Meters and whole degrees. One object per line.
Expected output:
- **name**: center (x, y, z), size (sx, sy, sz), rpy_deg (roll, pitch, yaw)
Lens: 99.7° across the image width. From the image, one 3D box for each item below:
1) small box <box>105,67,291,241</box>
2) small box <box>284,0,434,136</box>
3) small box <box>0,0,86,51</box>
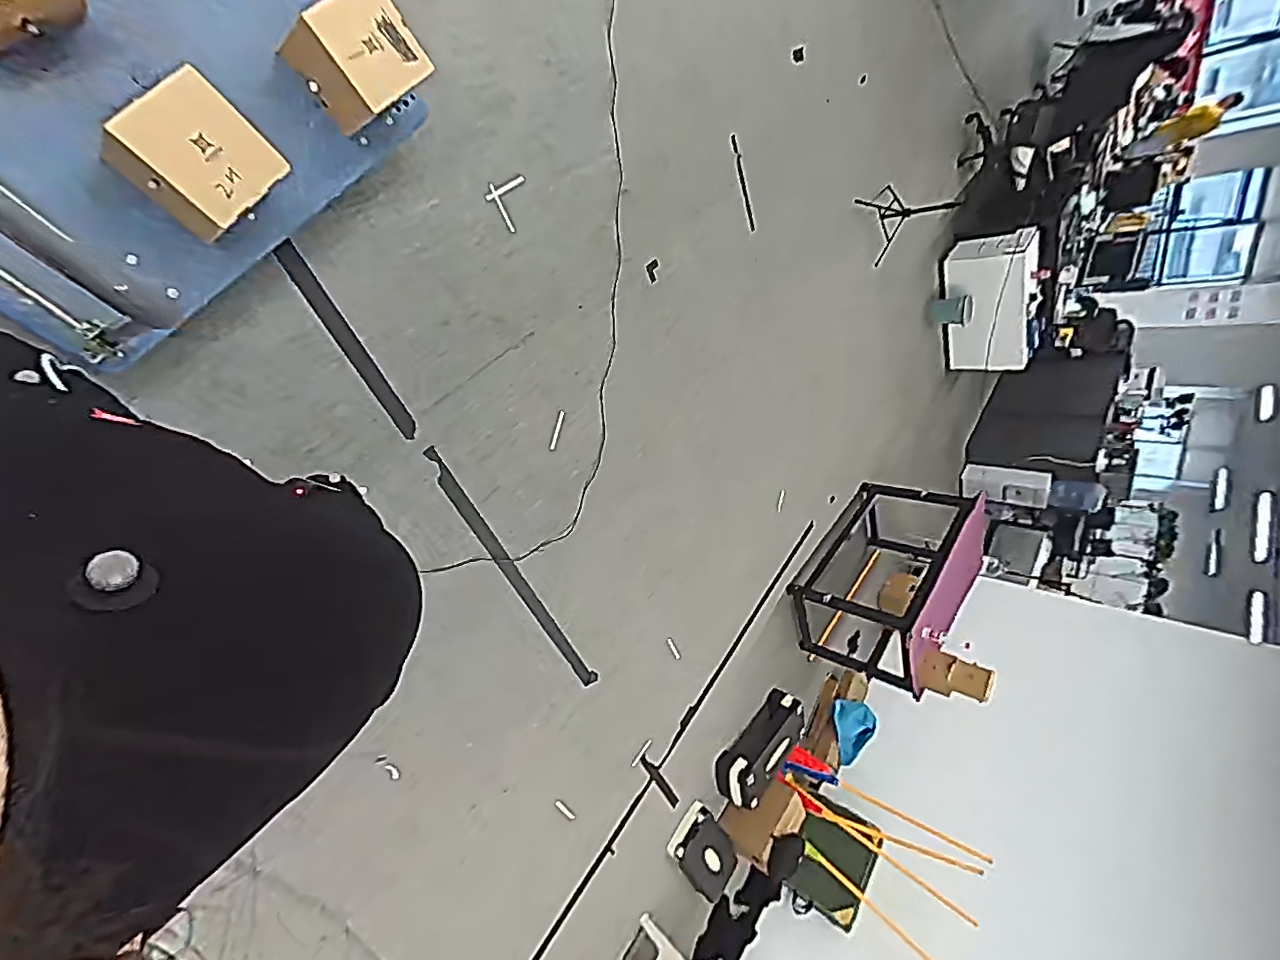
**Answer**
- **small box**: center (-0.746, -0.535, 0.912), size (0.179, 0.176, 0.168), rpy_deg (49, 64, -41)
- **small box**: center (-0.550, -0.814, 1.056), size (0.179, 0.176, 0.168), rpy_deg (-55, 132, -22)
- **small box**: center (-0.895, -0.719, 0.713), size (0.168, 0.176, 0.179), rpy_deg (-55, 134, -24)
